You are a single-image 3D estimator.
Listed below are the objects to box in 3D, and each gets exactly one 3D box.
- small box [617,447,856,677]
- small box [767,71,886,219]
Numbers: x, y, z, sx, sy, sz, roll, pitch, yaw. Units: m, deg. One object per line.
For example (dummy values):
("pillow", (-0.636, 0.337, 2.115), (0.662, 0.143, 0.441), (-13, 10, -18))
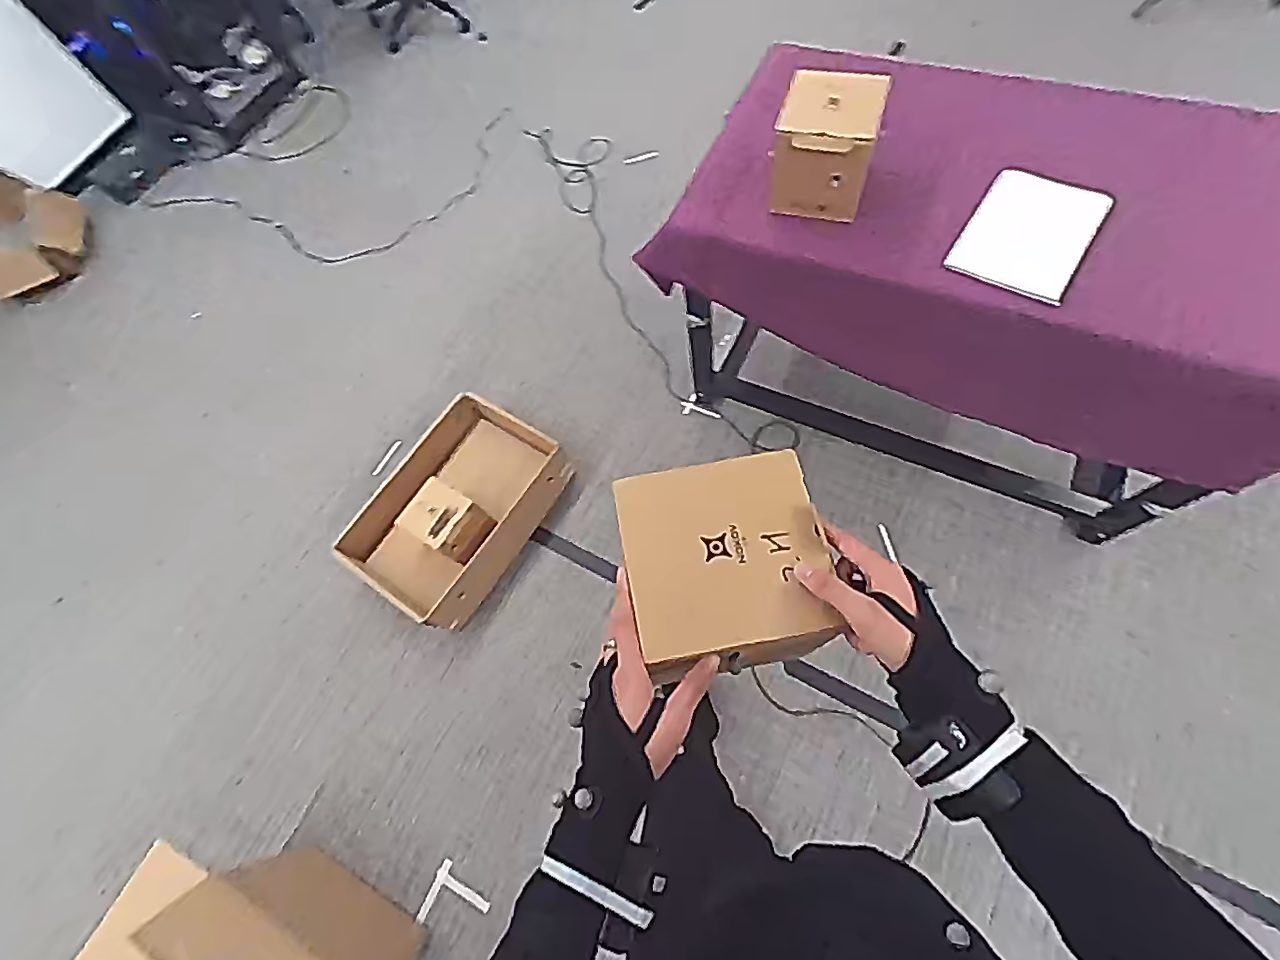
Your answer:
("small box", (0.080, 0.090, 0.534), (0.179, 0.176, 0.168), (-9, 64, -3))
("small box", (0.342, -0.624, 1.018), (0.168, 0.176, 0.179), (15, 70, 14))
